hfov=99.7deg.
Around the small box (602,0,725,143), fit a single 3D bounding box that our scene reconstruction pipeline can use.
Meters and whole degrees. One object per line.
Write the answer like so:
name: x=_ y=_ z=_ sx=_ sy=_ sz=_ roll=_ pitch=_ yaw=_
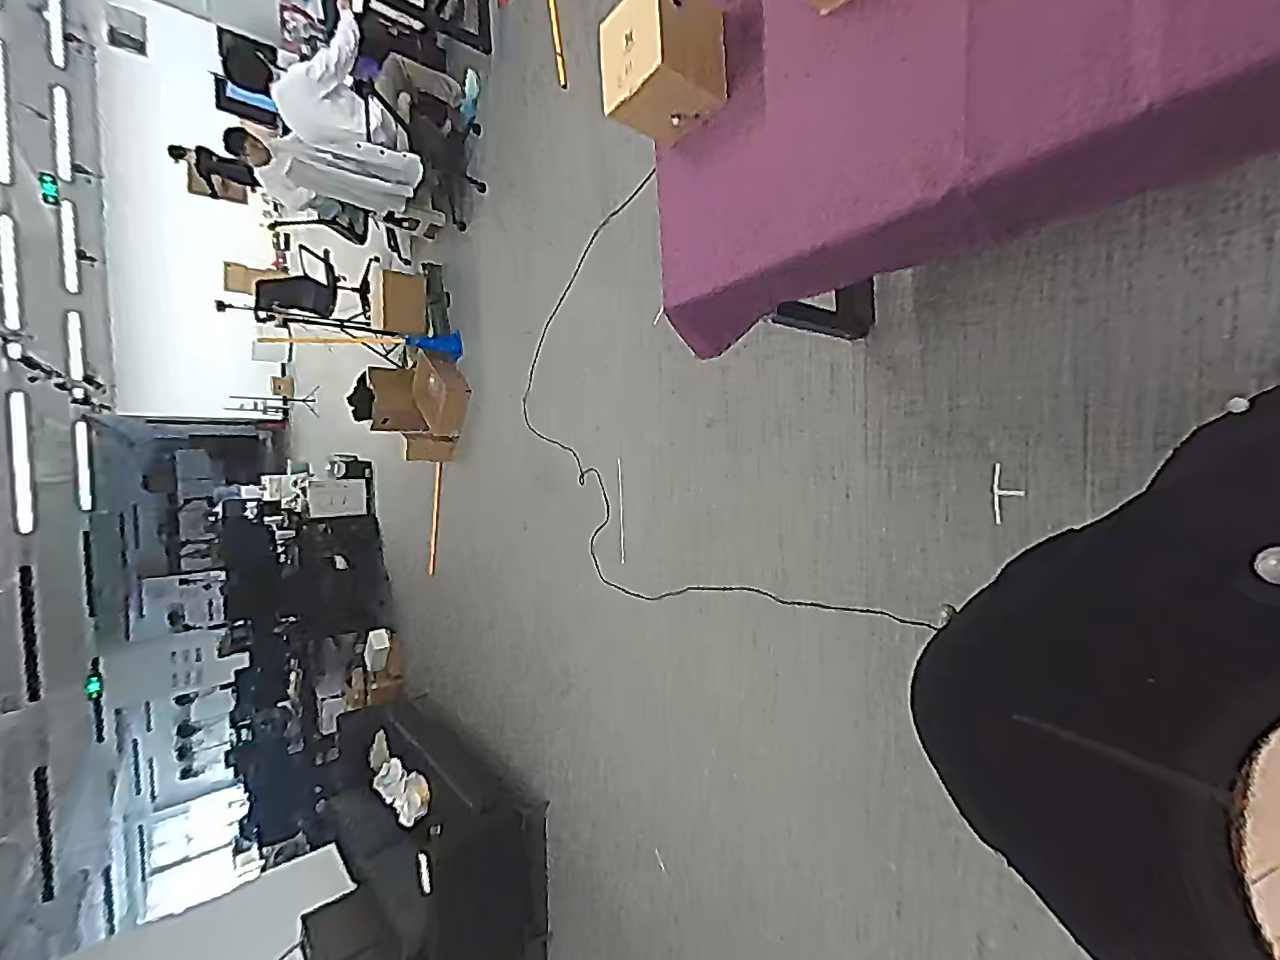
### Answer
small box: x=0.045 y=-0.787 z=1.024 sx=0.168 sy=0.176 sz=0.179 roll=-2 pitch=91 yaw=50
